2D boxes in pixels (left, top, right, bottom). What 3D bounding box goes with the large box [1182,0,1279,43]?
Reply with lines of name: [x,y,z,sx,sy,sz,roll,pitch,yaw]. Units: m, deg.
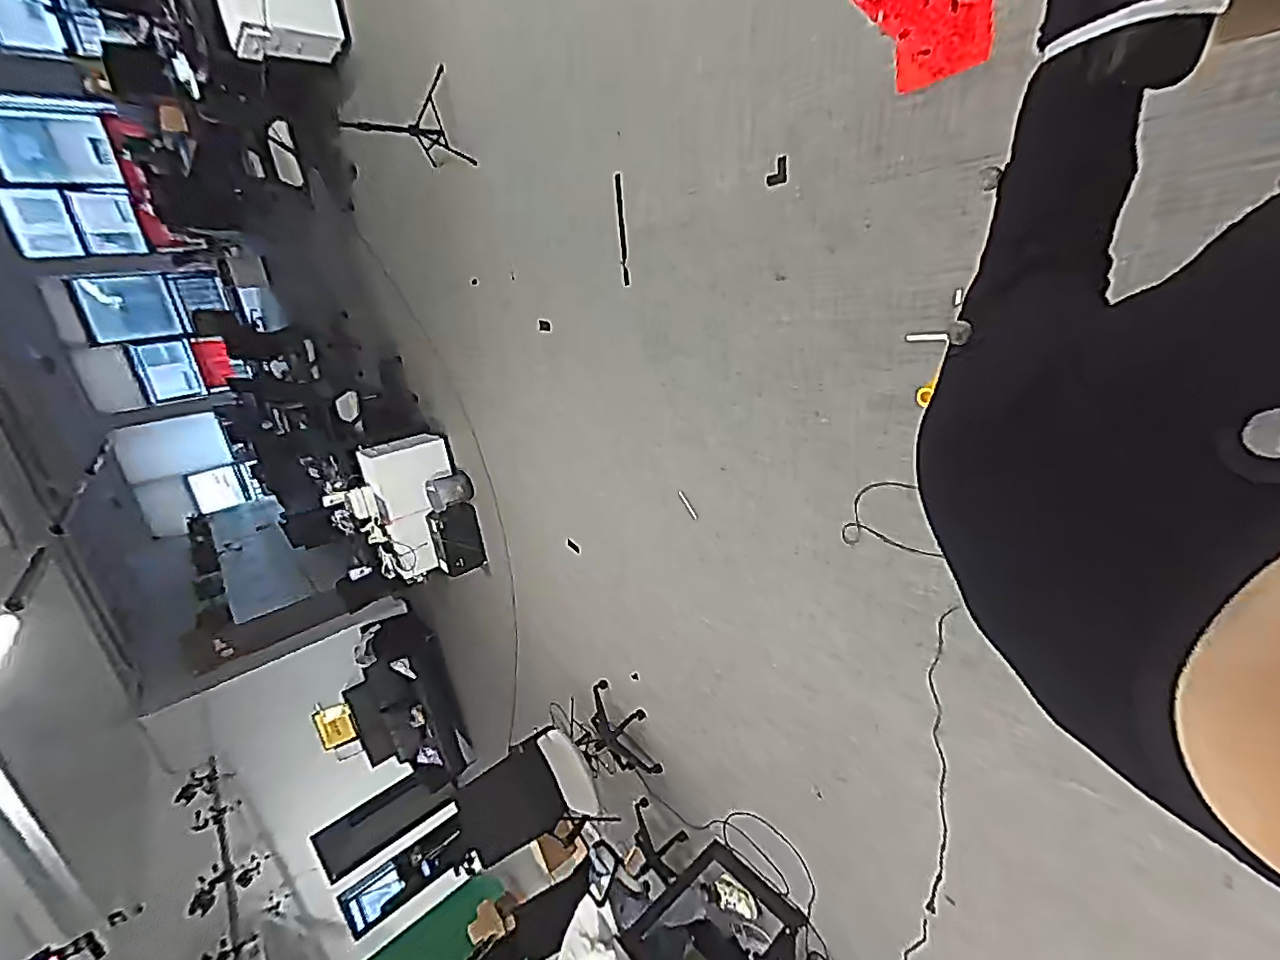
large box: [0.550,-0.464,0.233,0.408,0.320,0.320,17,124,45]

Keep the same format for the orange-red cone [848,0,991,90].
orange-red cone: [0.526,-0.937,1.077,0.198,0.360,0.199,14,120,49]
